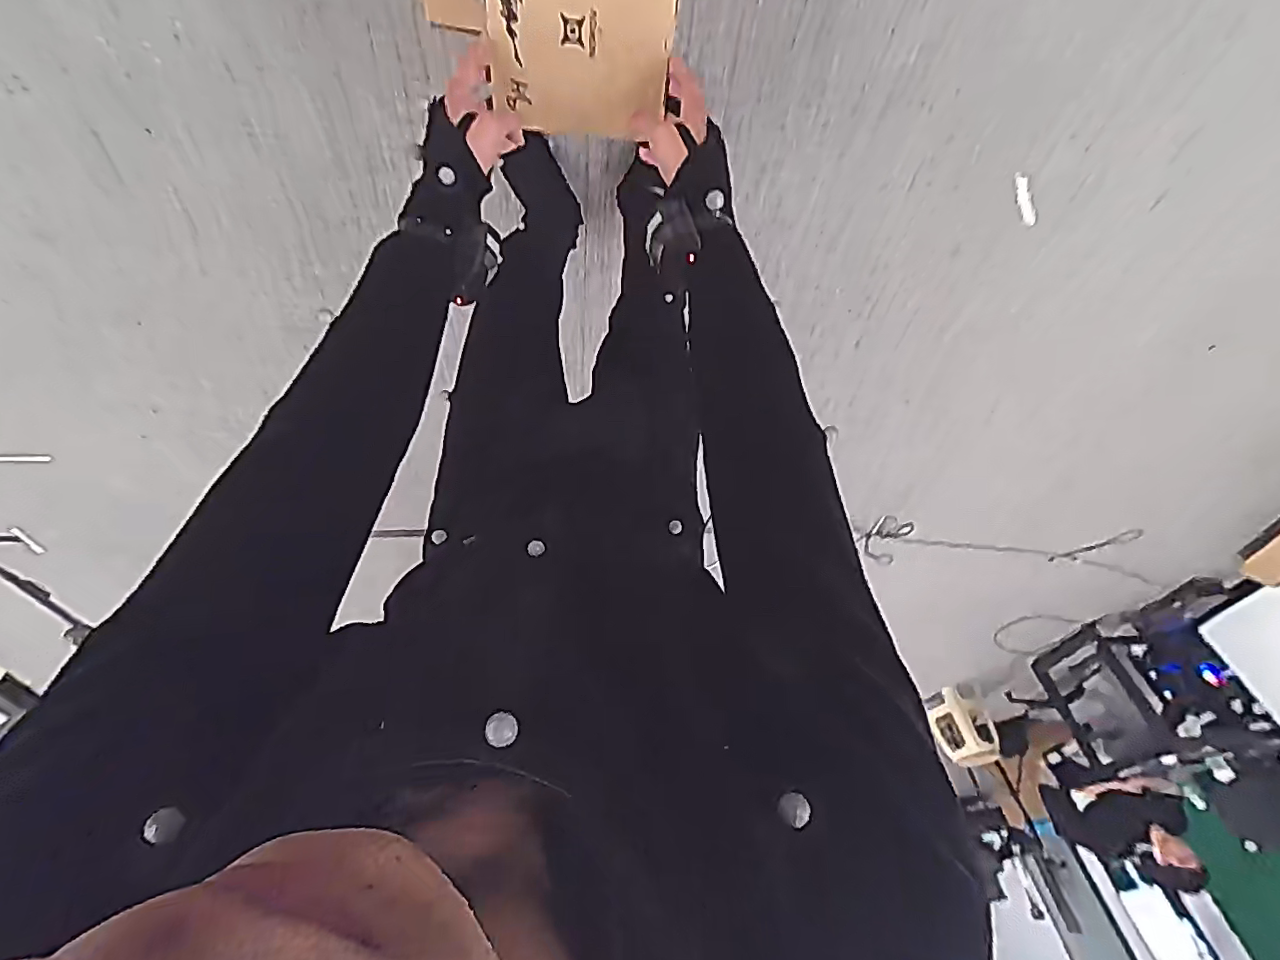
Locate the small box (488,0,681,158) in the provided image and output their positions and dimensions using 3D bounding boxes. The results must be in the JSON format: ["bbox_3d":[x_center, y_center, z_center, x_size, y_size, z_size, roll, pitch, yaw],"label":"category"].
[{"bbox_3d":[-0.062,-0.467,0.573,0.179,0.176,0.168,1,137,-8],"label":"small box"}]
